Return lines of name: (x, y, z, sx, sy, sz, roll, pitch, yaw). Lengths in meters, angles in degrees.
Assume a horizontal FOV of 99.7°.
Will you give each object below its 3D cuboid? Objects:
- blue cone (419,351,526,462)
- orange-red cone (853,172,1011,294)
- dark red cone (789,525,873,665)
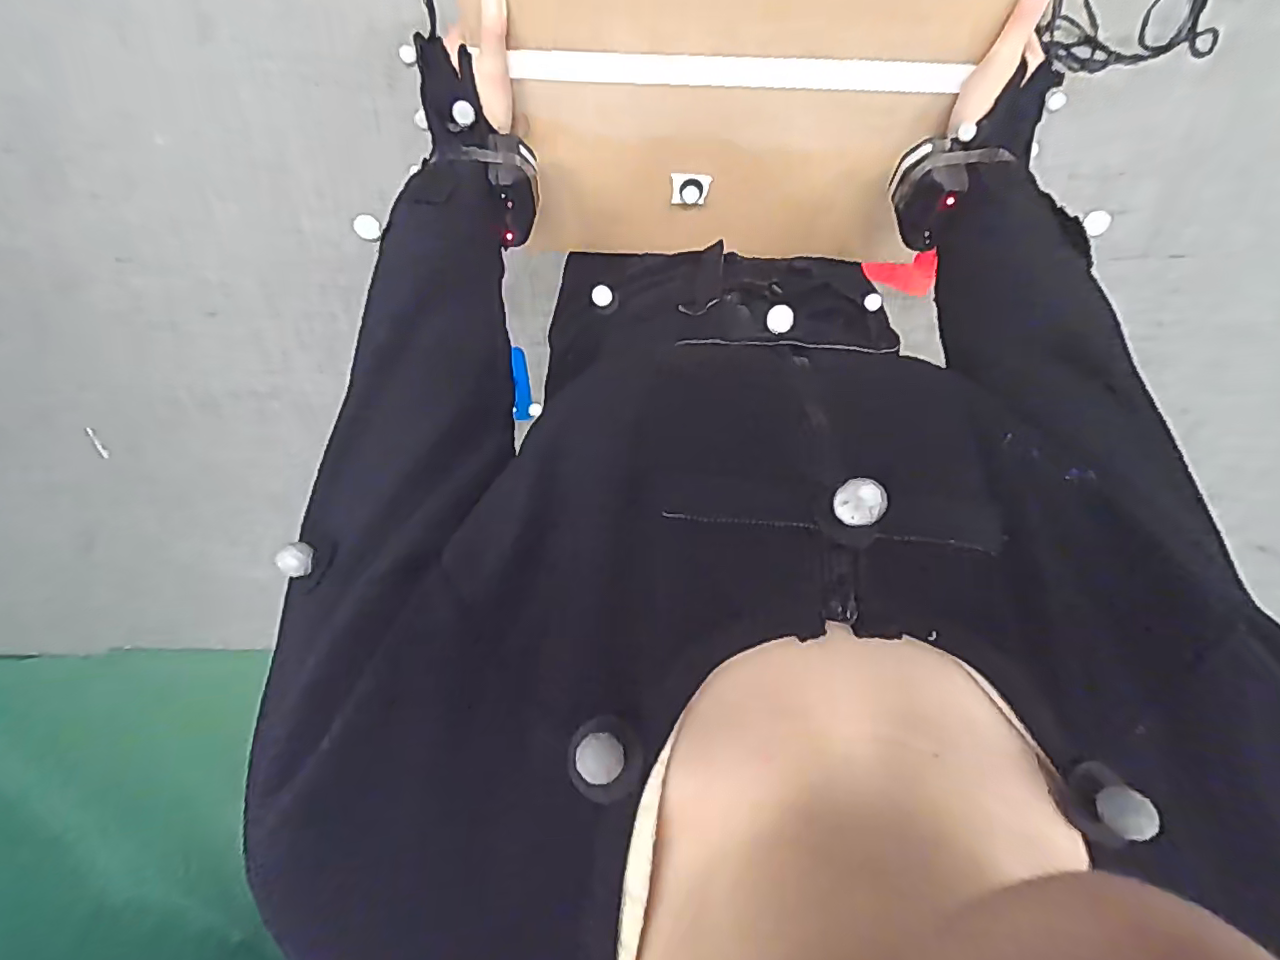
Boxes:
blue cone: (-0.399, -0.148, 1.227, 0.192, 0.380, 0.193, 1, 121, 3)
orange-red cone: (0.563, -0.415, 0.980, 0.199, 0.360, 0.198, 17, 122, -8)
dark red cone: (0.520, 0.304, 1.403, 0.202, 0.394, 0.201, -6, 124, 7)
